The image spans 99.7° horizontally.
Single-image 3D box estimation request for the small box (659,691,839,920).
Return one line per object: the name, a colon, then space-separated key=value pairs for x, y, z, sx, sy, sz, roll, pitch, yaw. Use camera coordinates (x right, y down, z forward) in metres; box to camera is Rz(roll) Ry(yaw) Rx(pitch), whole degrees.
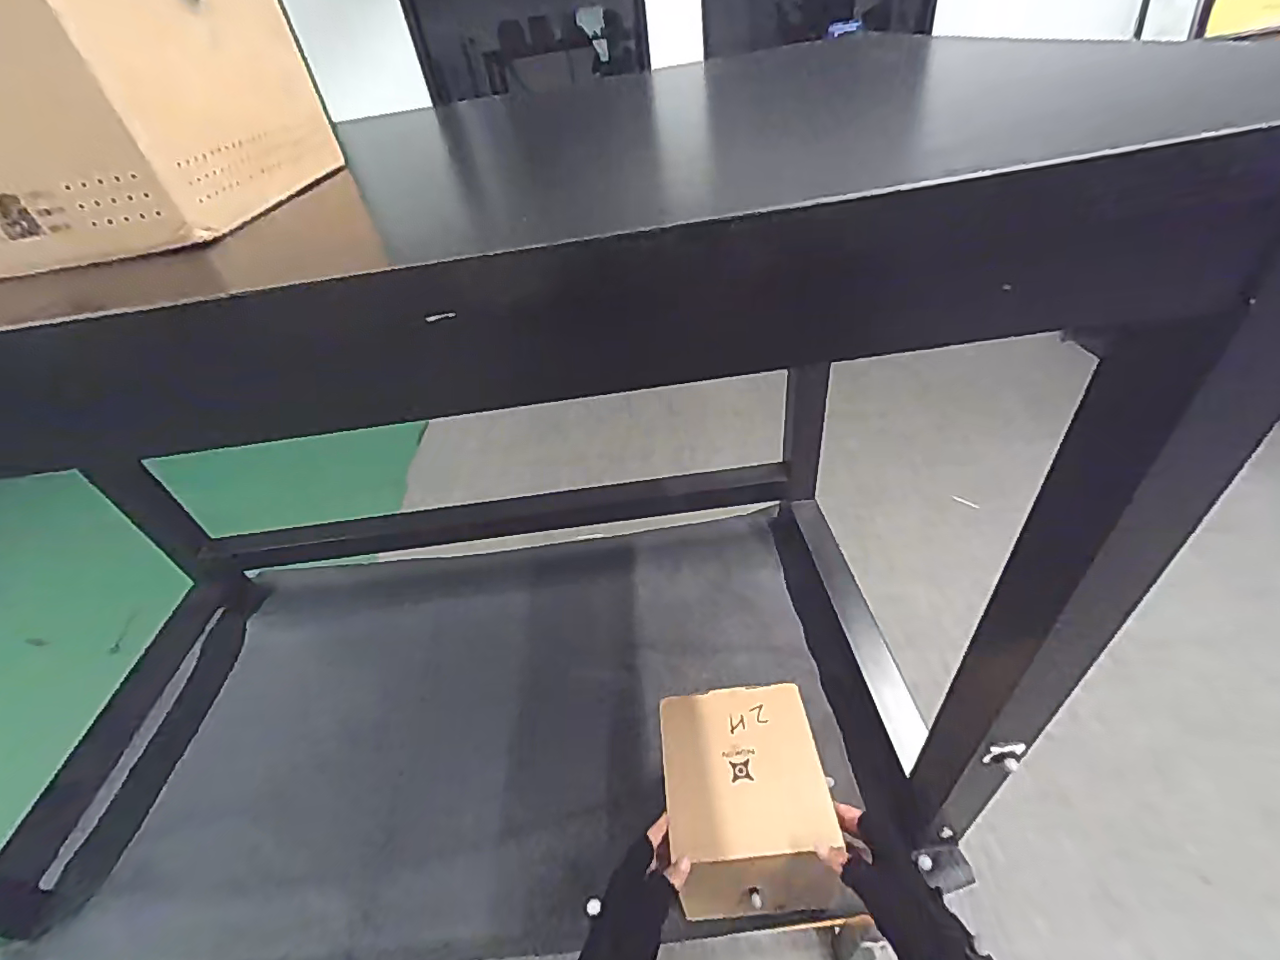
small box: x=0.116 y=0.372 z=0.617 sx=0.168 sy=0.176 sz=0.179 roll=-7 pitch=35 yaw=4
